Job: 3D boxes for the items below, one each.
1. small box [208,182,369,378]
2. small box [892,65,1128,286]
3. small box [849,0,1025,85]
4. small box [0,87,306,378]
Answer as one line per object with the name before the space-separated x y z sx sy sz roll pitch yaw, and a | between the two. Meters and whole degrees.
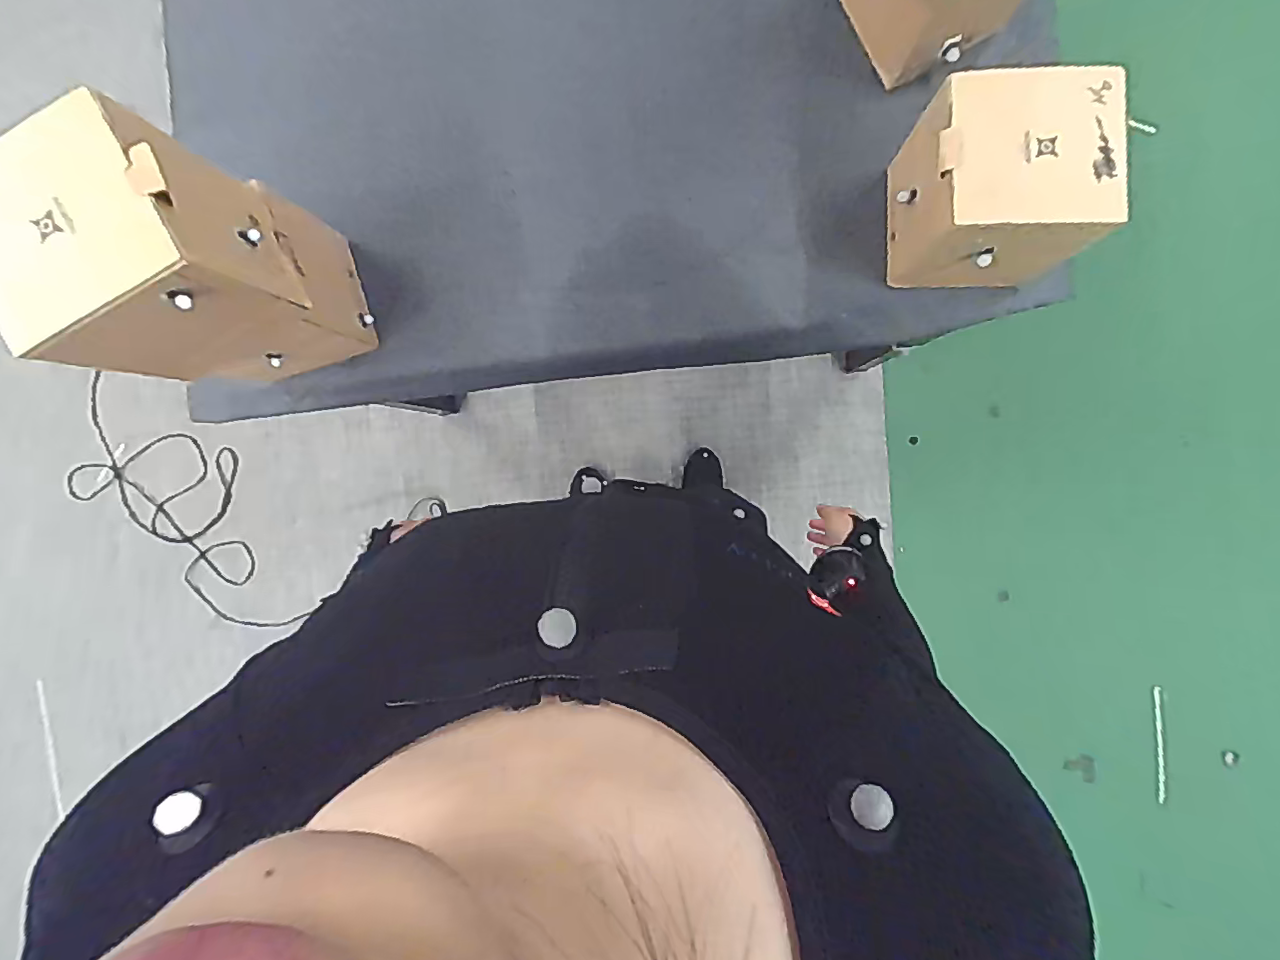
small box | -0.479 -0.240 0.692 0.179 0.176 0.168 -16 92 4
small box | 0.411 -0.337 0.631 0.179 0.176 0.168 1 89 4
small box | 0.357 -0.621 0.625 0.168 0.176 0.179 -27 93 7
small box | -0.484 -0.217 0.531 0.179 0.176 0.168 -29 91 4
